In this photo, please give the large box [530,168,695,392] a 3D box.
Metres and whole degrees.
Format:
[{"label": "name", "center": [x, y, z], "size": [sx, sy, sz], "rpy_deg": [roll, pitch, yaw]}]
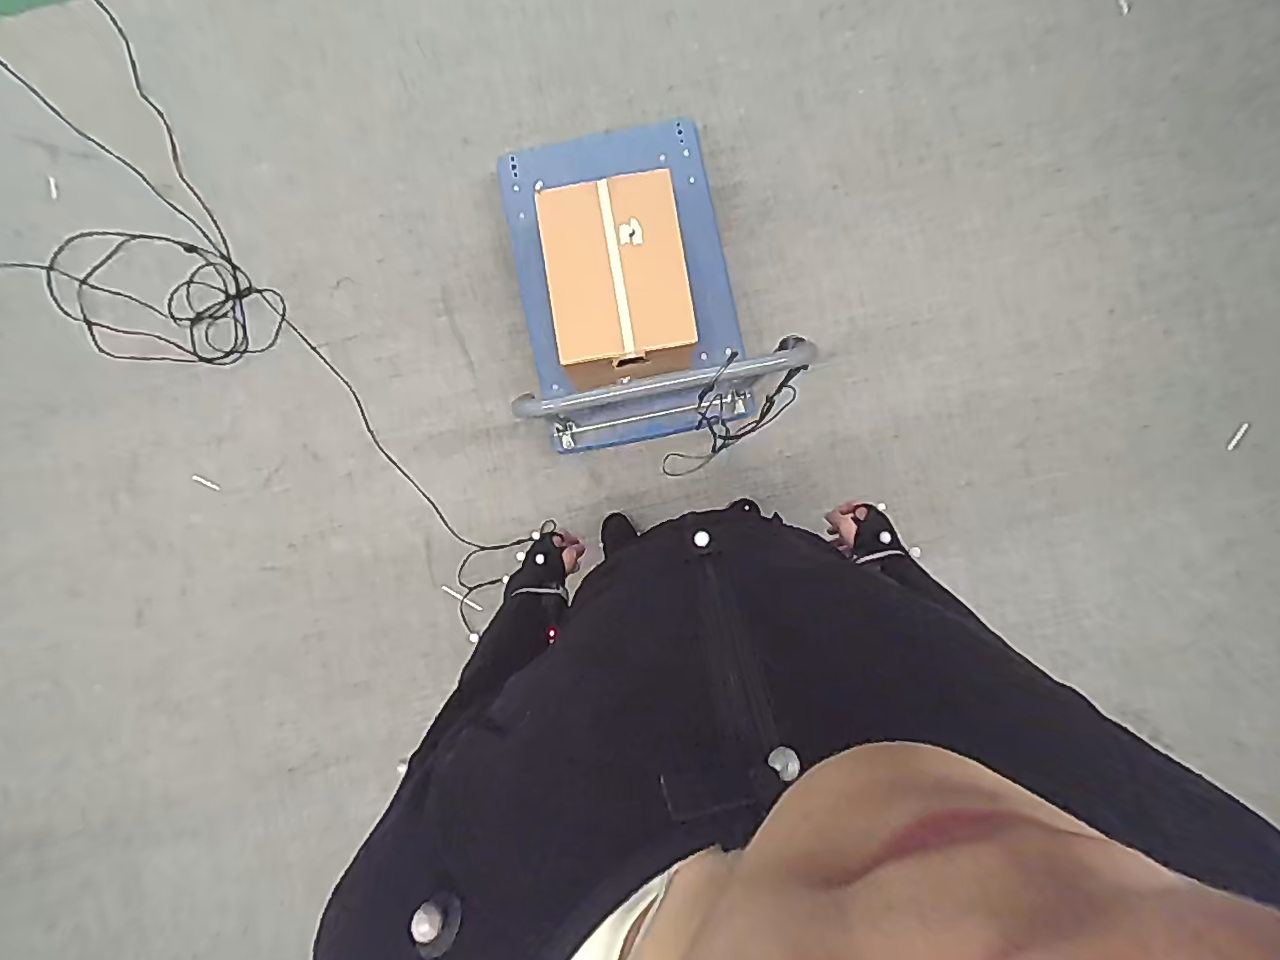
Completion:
[{"label": "large box", "center": [-0.058, -0.467, 1.340], "size": [0.320, 0.320, 0.408], "rpy_deg": [-9, 87, 0]}]
